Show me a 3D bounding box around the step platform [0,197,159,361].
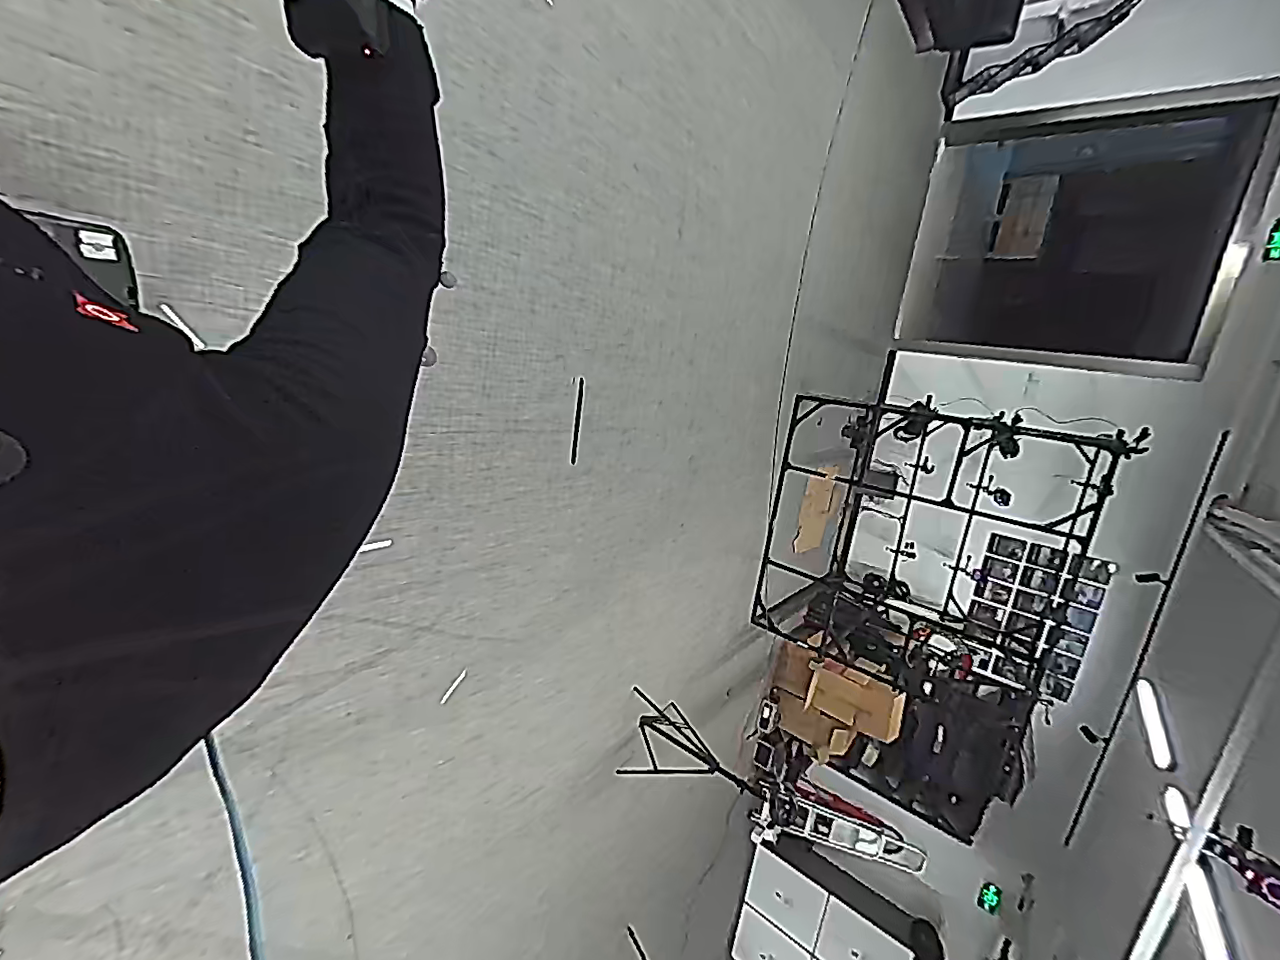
[{"bbox_3d":[-1.272,-0.363,0.914,0.684,0.204,0.286,-12,114,-52],"label":"step platform"}]
